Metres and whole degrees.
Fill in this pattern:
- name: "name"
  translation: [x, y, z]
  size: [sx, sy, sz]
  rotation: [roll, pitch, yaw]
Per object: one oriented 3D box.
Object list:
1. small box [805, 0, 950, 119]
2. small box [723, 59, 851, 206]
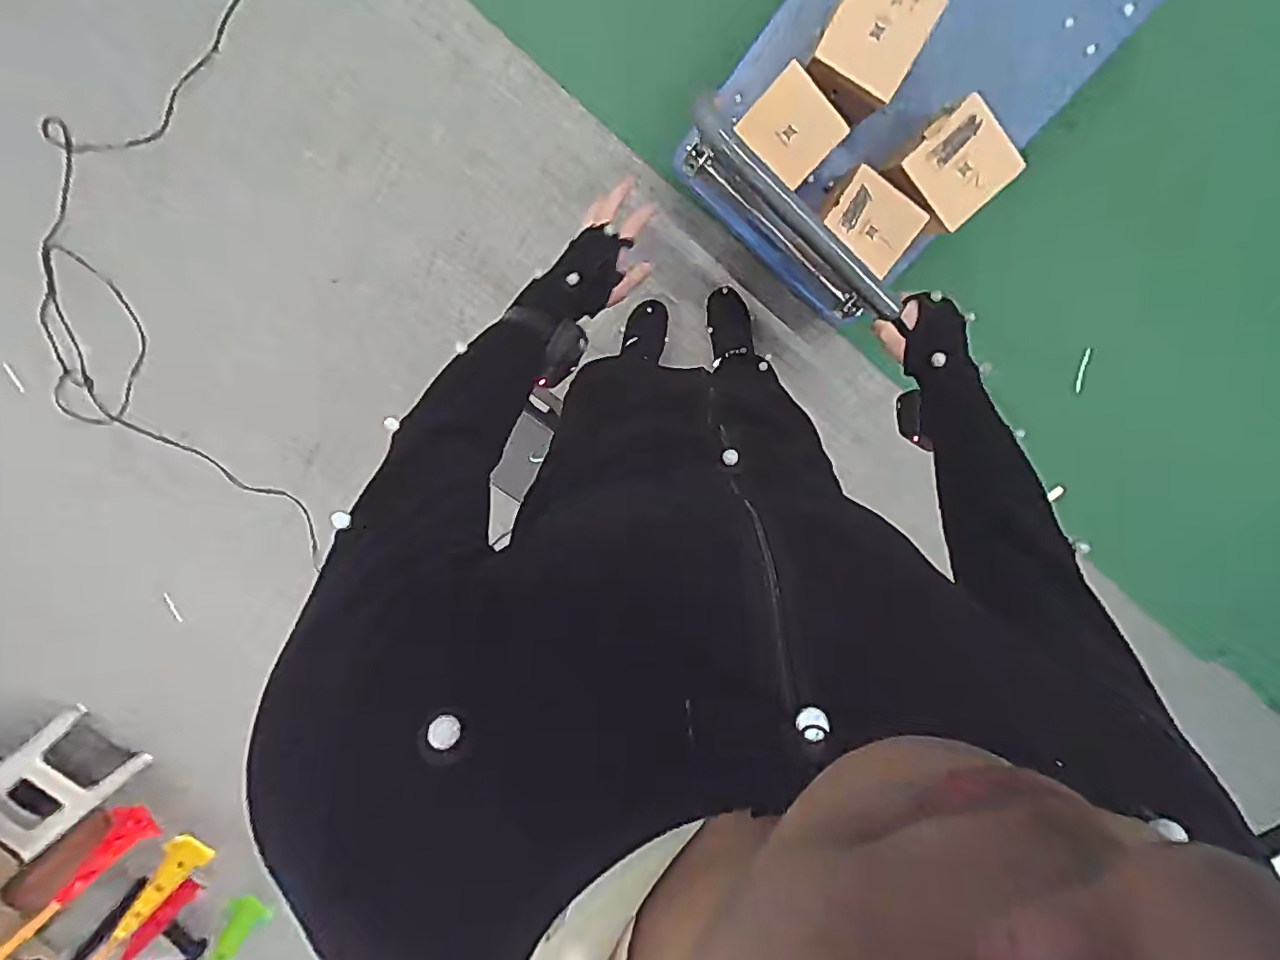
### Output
- name: "small box"
  translation: [0.431, -0.829, 1.026]
  size: [0.168, 0.176, 0.179]
  rotation: [27, 111, -8]
- name: "small box"
  translation: [0.286, -0.688, 1.095]
  size: [0.168, 0.176, 0.179]
  rotation: [43, 109, -14]
